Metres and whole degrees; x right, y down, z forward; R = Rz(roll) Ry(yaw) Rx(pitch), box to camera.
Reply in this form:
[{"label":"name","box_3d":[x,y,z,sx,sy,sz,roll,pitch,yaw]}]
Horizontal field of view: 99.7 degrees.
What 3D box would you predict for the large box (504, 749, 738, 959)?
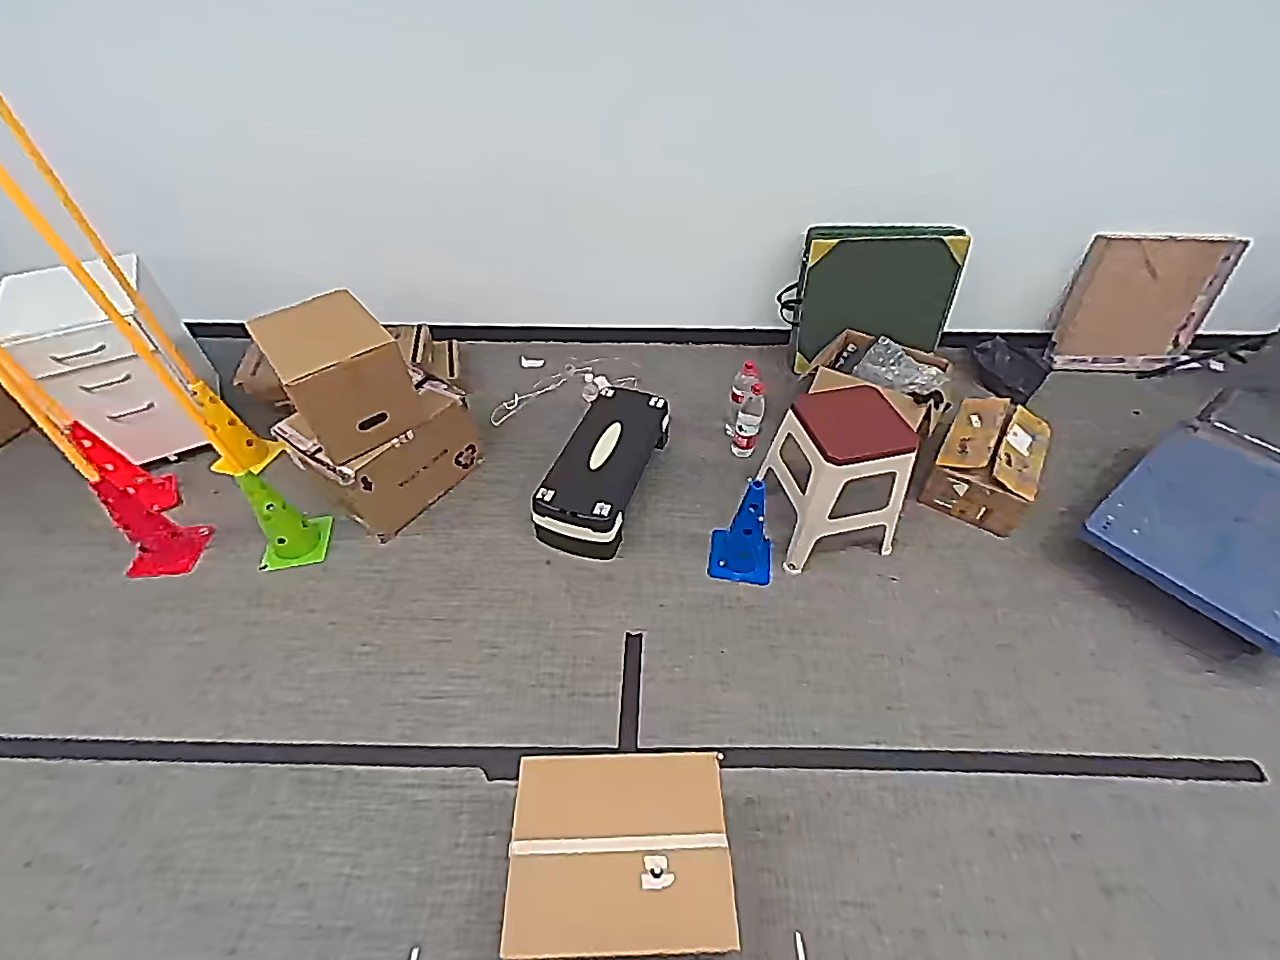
[{"label":"large box","box_3d":[-0.042,0.775,1.115,0.408,0.320,0.320,0,47,-2]}]
